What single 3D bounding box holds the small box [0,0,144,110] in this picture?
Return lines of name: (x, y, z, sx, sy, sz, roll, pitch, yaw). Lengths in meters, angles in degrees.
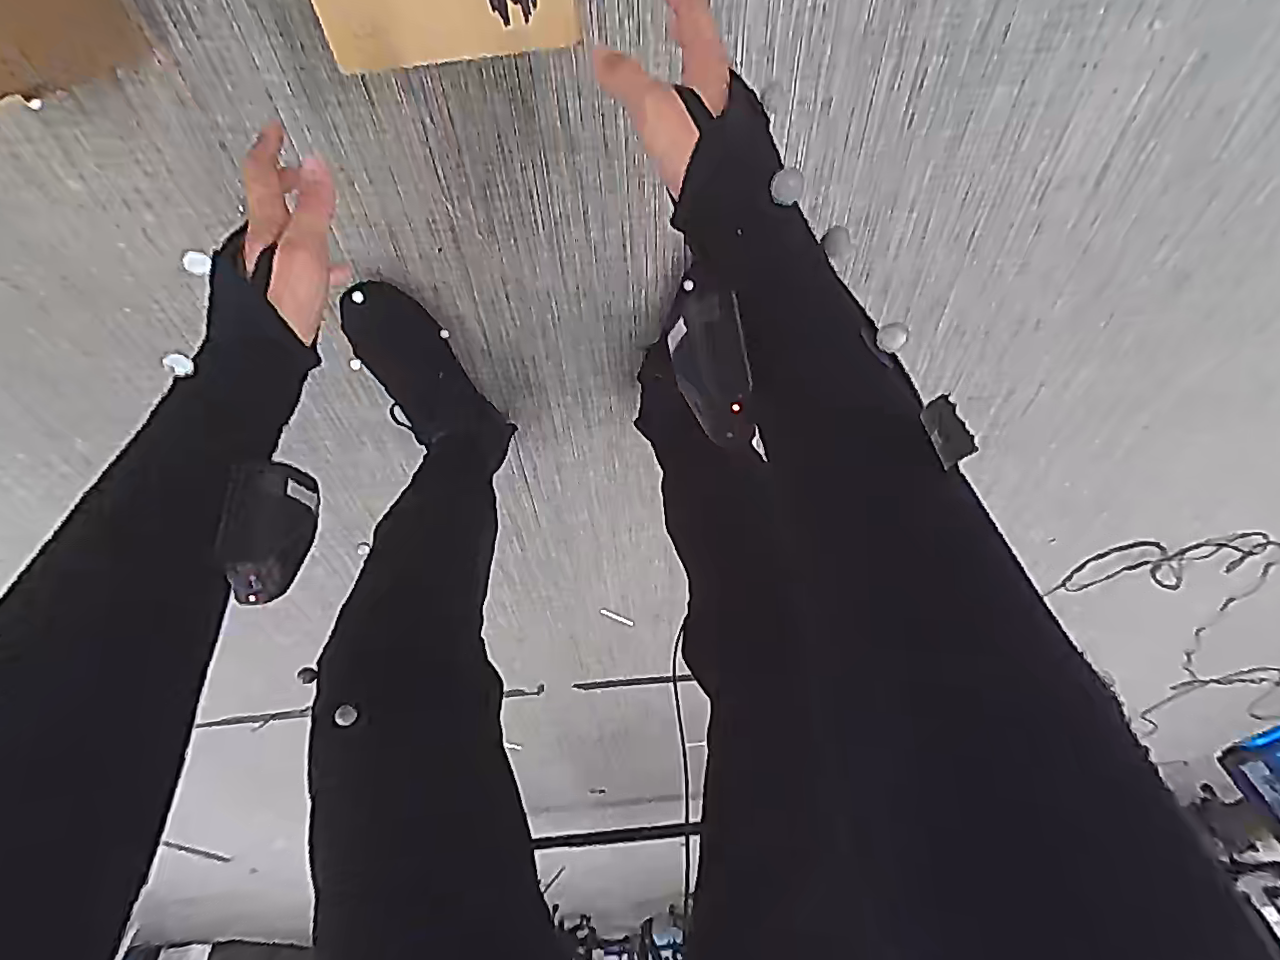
small box: (-0.523, -0.371, 0.374, 0.168, 0.176, 0.179, -7, 138, 2)
